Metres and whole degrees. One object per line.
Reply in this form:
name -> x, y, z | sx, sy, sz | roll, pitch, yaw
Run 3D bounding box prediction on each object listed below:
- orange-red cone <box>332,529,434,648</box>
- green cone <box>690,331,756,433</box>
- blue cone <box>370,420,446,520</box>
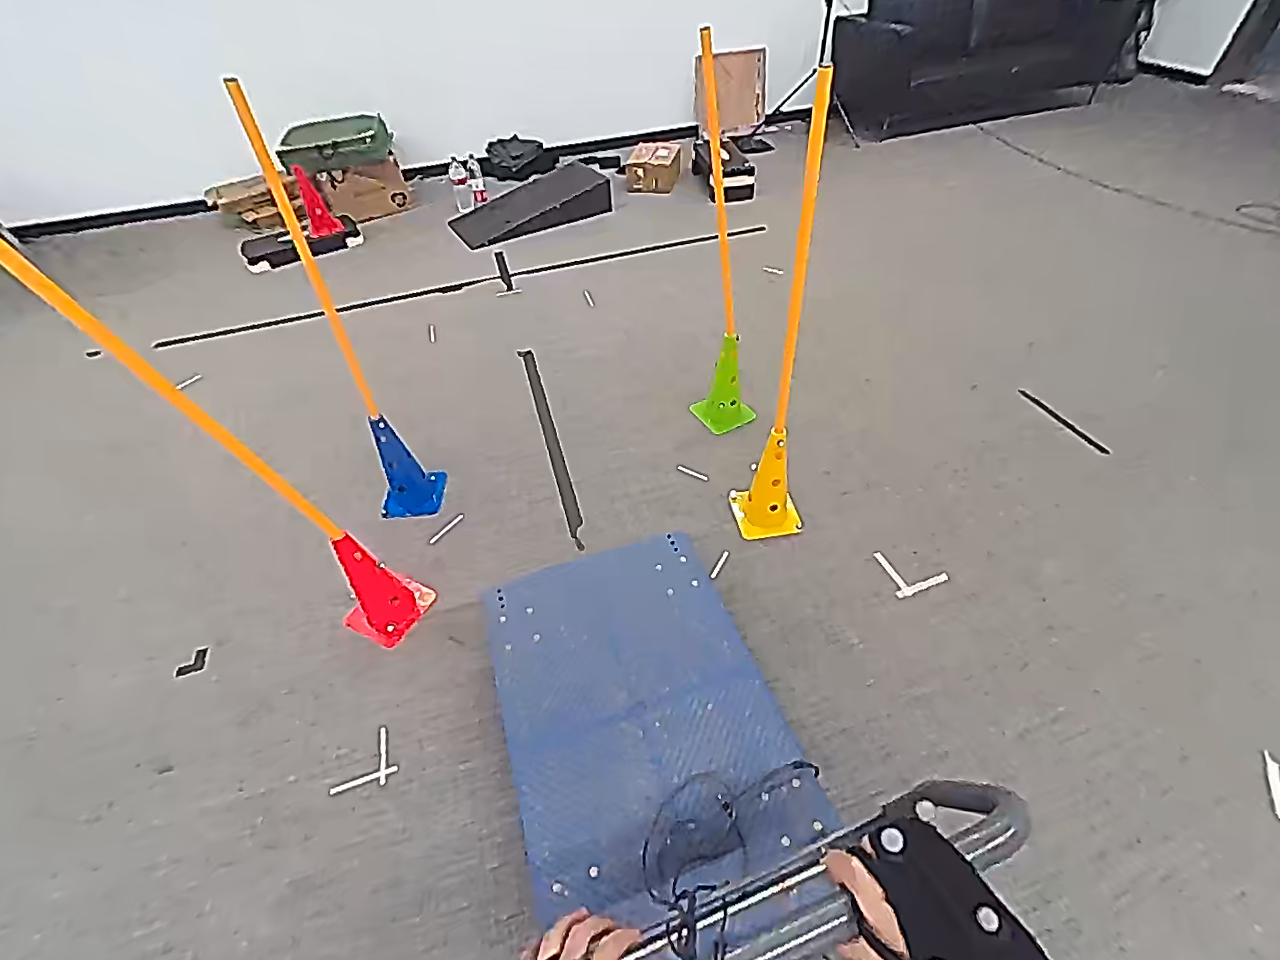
orange-red cone -> -0.736, 0.257, 1.459 | 0.198, 0.360, 0.199 | 20, 49, 20
green cone -> 0.318, -0.386, 2.000 | 0.200, 0.368, 0.202 | -25, 51, -19
blue cone -> -0.792, -0.050, 1.775 | 0.193, 0.380, 0.192 | -4, 47, 0
